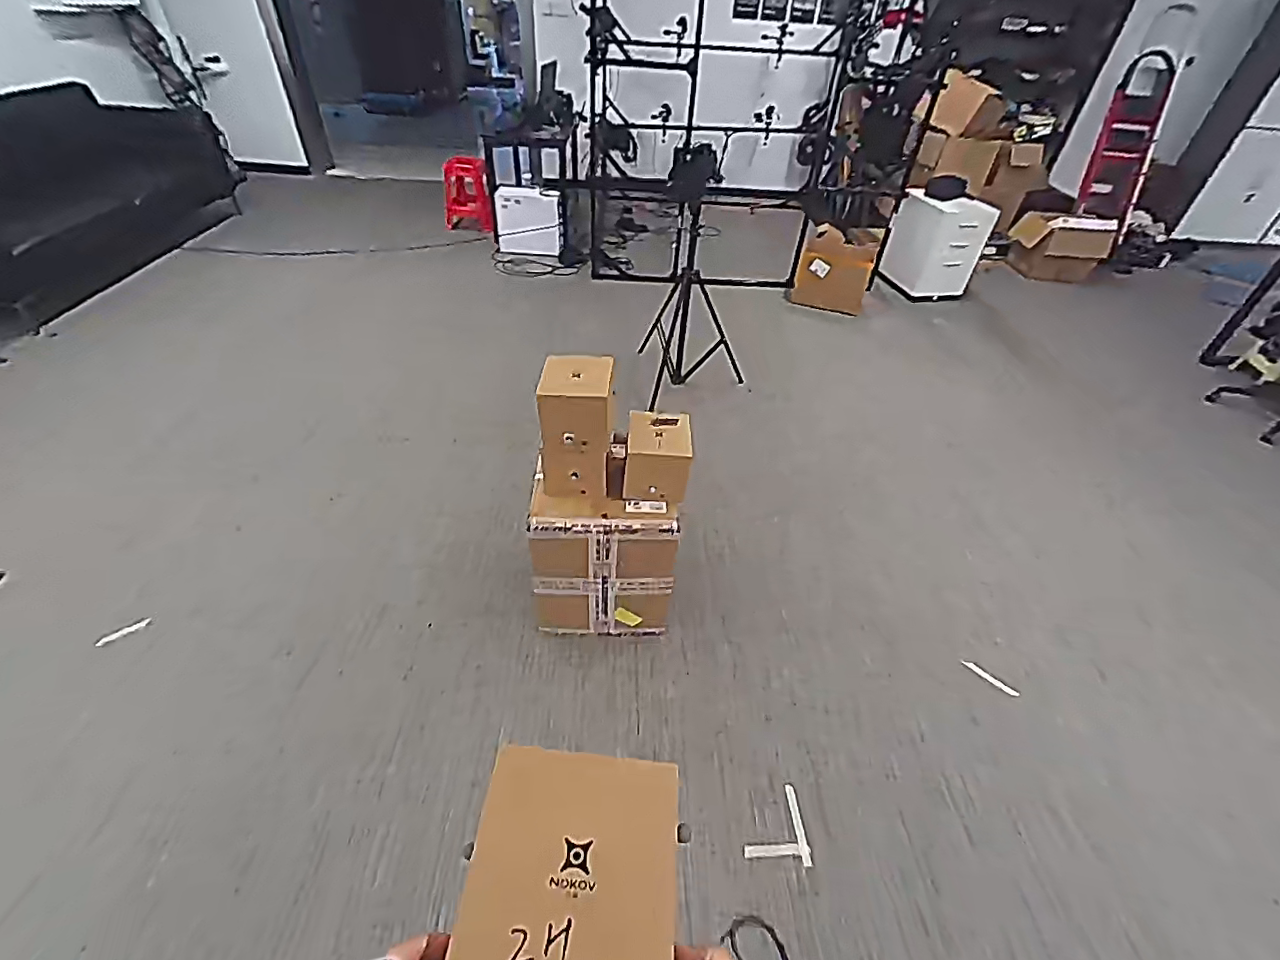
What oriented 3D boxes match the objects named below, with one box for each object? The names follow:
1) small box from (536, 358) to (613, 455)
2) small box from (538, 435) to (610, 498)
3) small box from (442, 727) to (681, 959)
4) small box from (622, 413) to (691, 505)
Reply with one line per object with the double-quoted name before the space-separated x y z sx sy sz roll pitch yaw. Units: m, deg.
"small box" -0.154 -0.181 1.331 0.168 0.176 0.179 1 44 1
"small box" -0.168 -0.067 1.447 0.168 0.176 0.179 2 44 0
"small box" -0.059 0.353 0.489 0.168 0.176 0.179 7 44 1
"small box" 0.040 -0.056 1.452 0.168 0.176 0.179 4 43 -2
